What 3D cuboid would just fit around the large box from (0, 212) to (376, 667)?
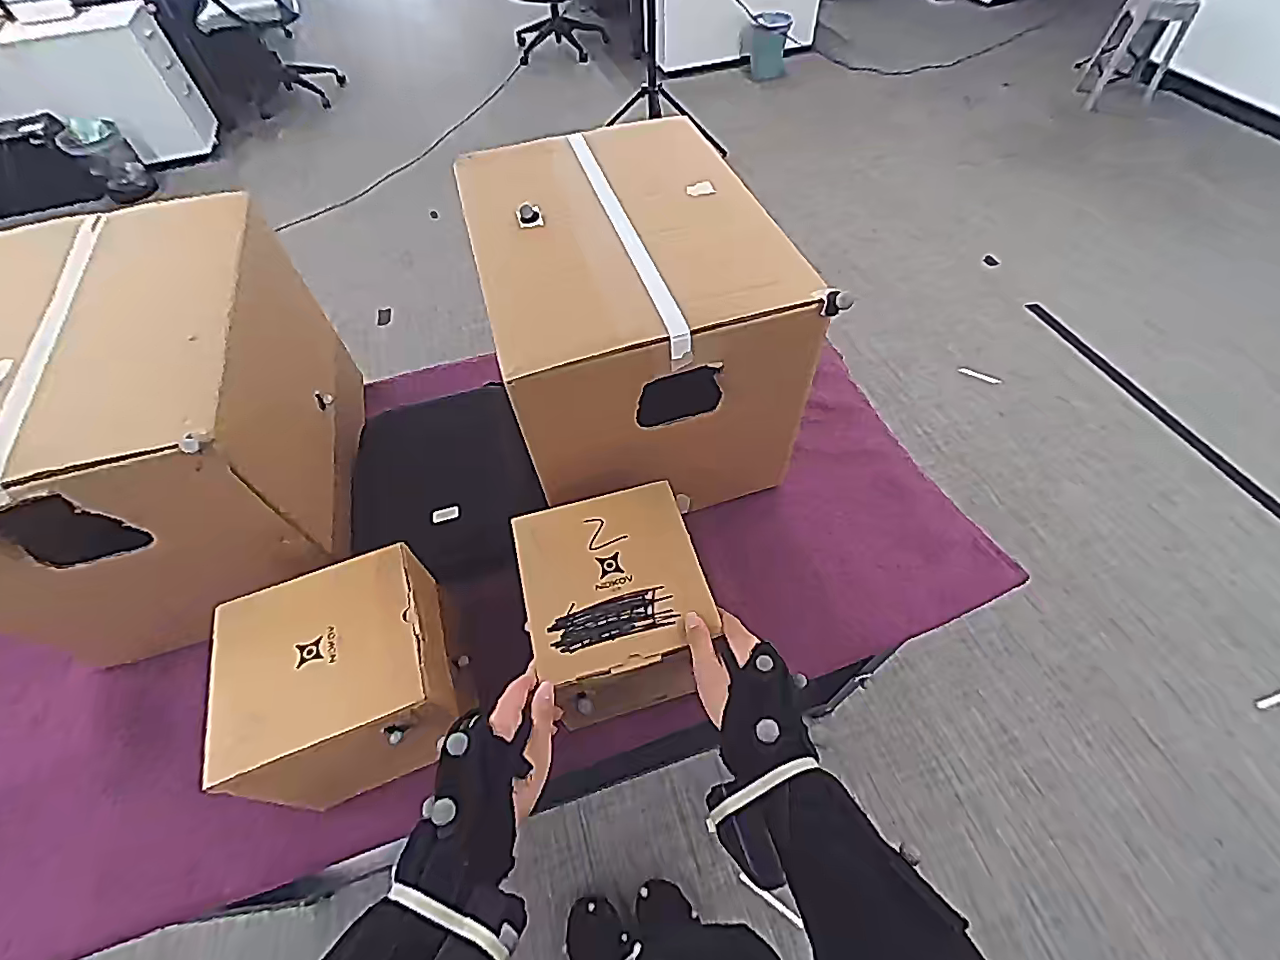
[{"bbox_3d":[-0.549,-0.048,0.653,0.320,0.320,0.408,-17,58,-9],"label":"large box"}]
